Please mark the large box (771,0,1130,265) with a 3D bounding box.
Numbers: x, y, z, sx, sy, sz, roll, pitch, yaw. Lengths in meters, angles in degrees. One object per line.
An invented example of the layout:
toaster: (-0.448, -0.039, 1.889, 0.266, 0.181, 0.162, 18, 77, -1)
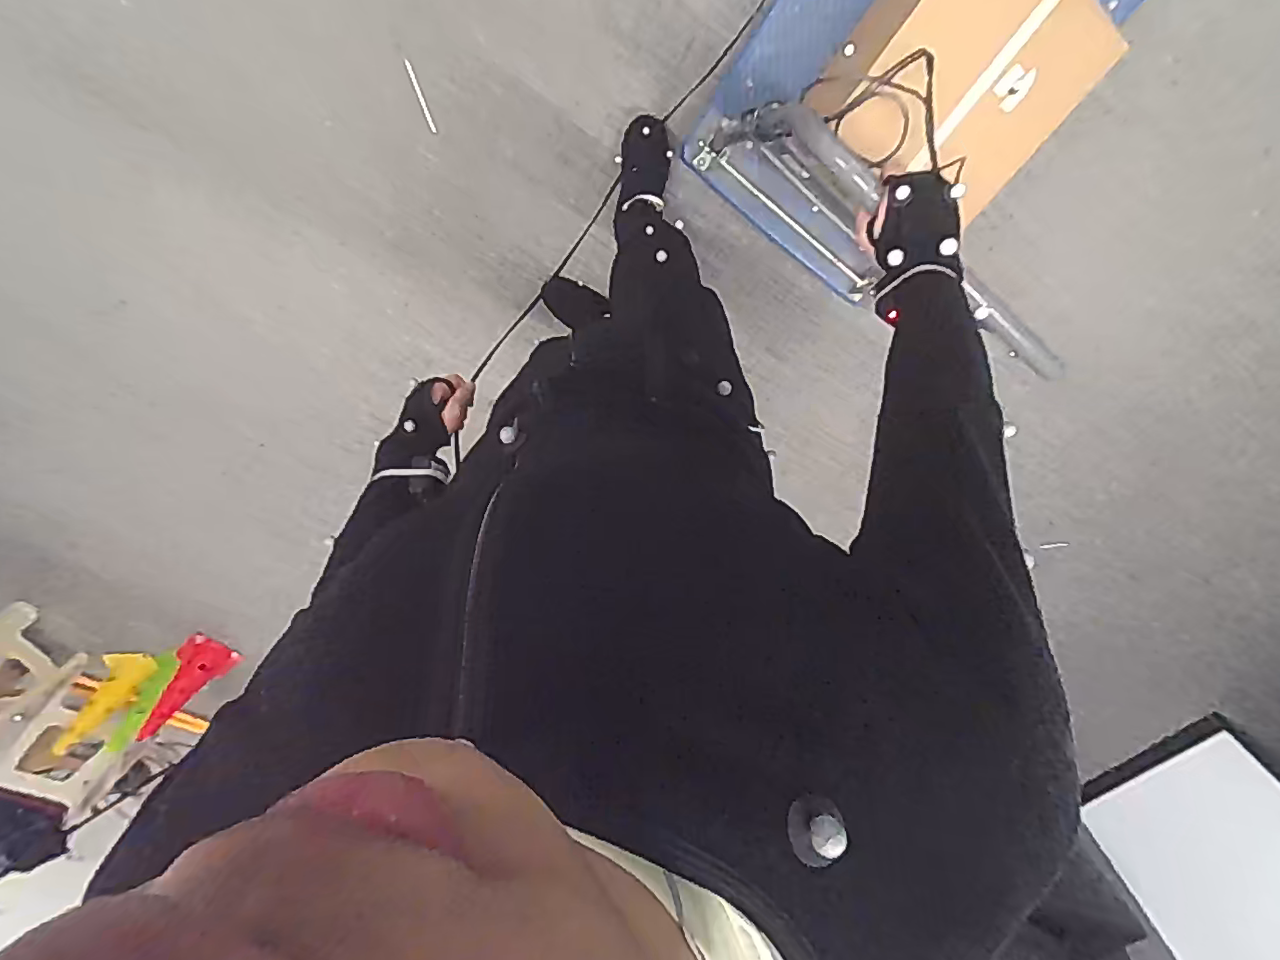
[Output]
large box: (0.508, -0.675, 0.982, 0.320, 0.320, 0.408, 30, 116, -19)
